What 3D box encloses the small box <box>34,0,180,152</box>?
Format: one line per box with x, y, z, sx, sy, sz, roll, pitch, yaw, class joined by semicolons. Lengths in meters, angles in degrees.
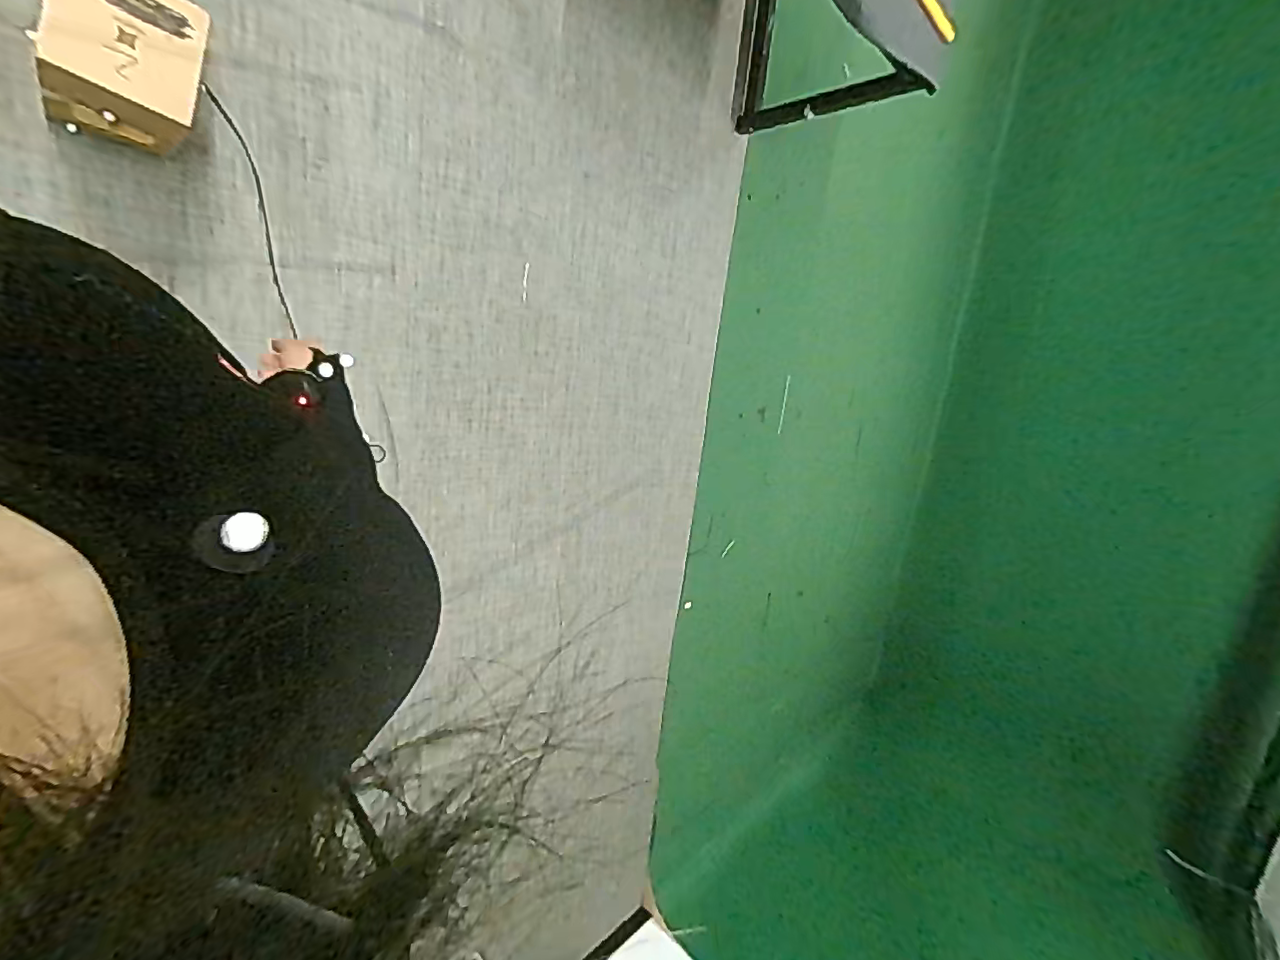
-0.916;-0.700;0.934;0.168;0.176;0.179;2;102;-47;small box
